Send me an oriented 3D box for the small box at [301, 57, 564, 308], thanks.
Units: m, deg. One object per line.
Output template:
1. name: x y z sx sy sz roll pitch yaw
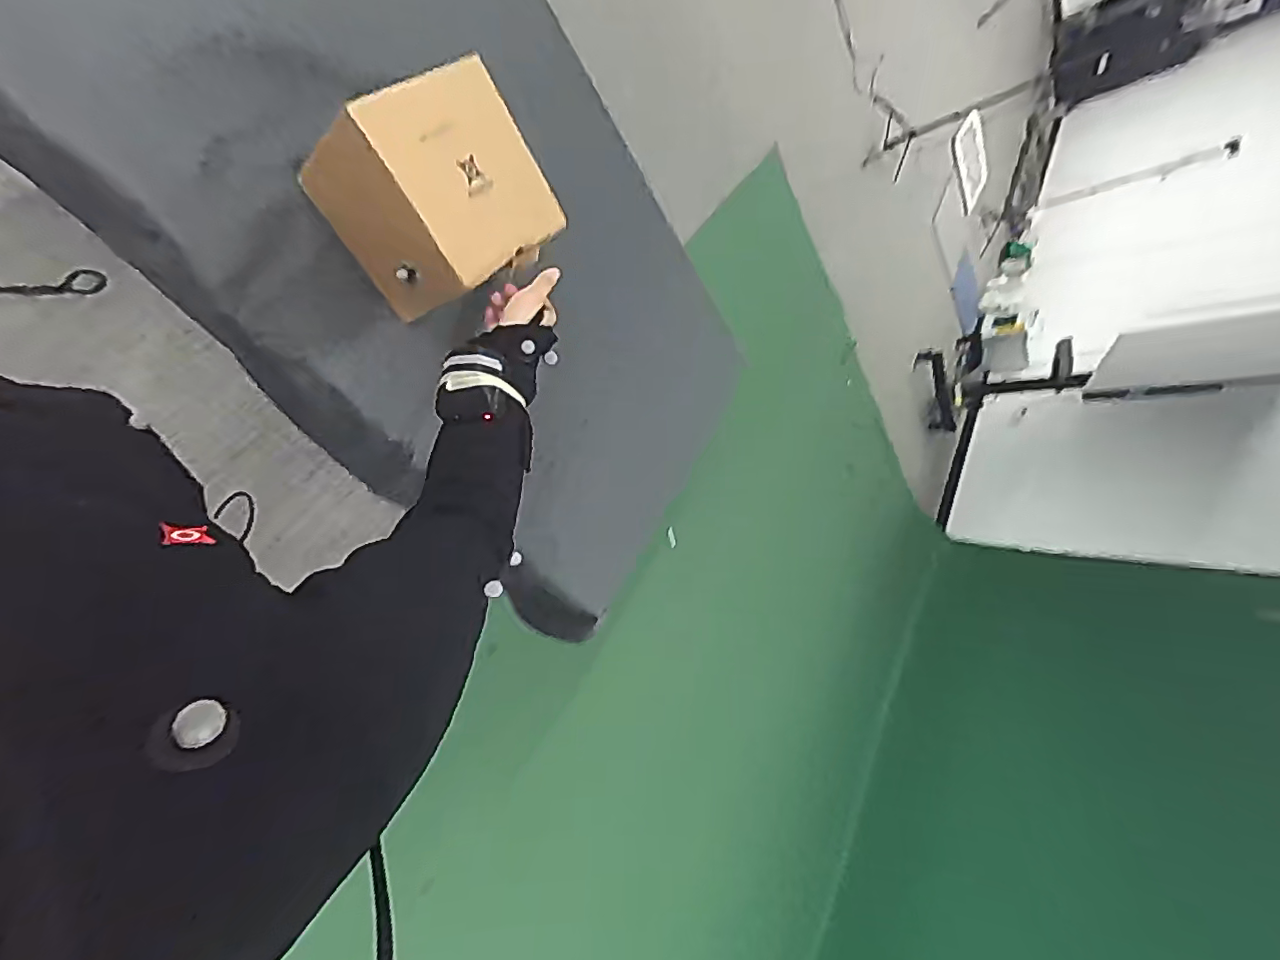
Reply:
1. small box: -0.225 -0.308 0.596 0.168 0.176 0.179 -52 124 -31
